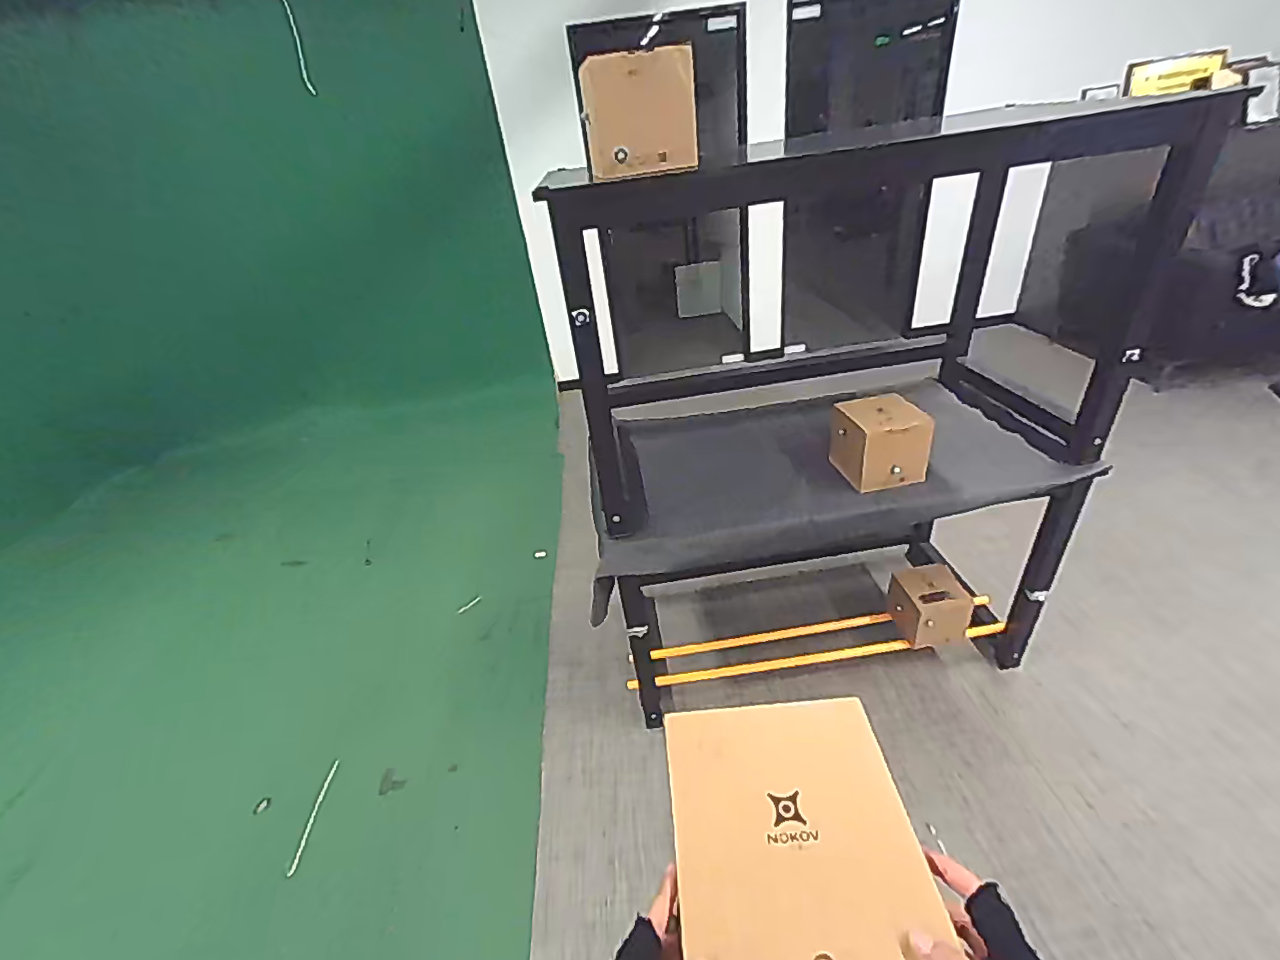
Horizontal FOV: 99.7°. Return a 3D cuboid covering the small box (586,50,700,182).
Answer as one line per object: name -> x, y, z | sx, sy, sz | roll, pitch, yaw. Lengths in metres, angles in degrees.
small box -> 0.004, -0.632, 0.956 | 0.168, 0.176, 0.179 | -11, 31, -6

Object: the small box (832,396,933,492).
small box -> 0.593, -0.091, 1.349 | 0.168, 0.176, 0.179 | -10, 31, -3
